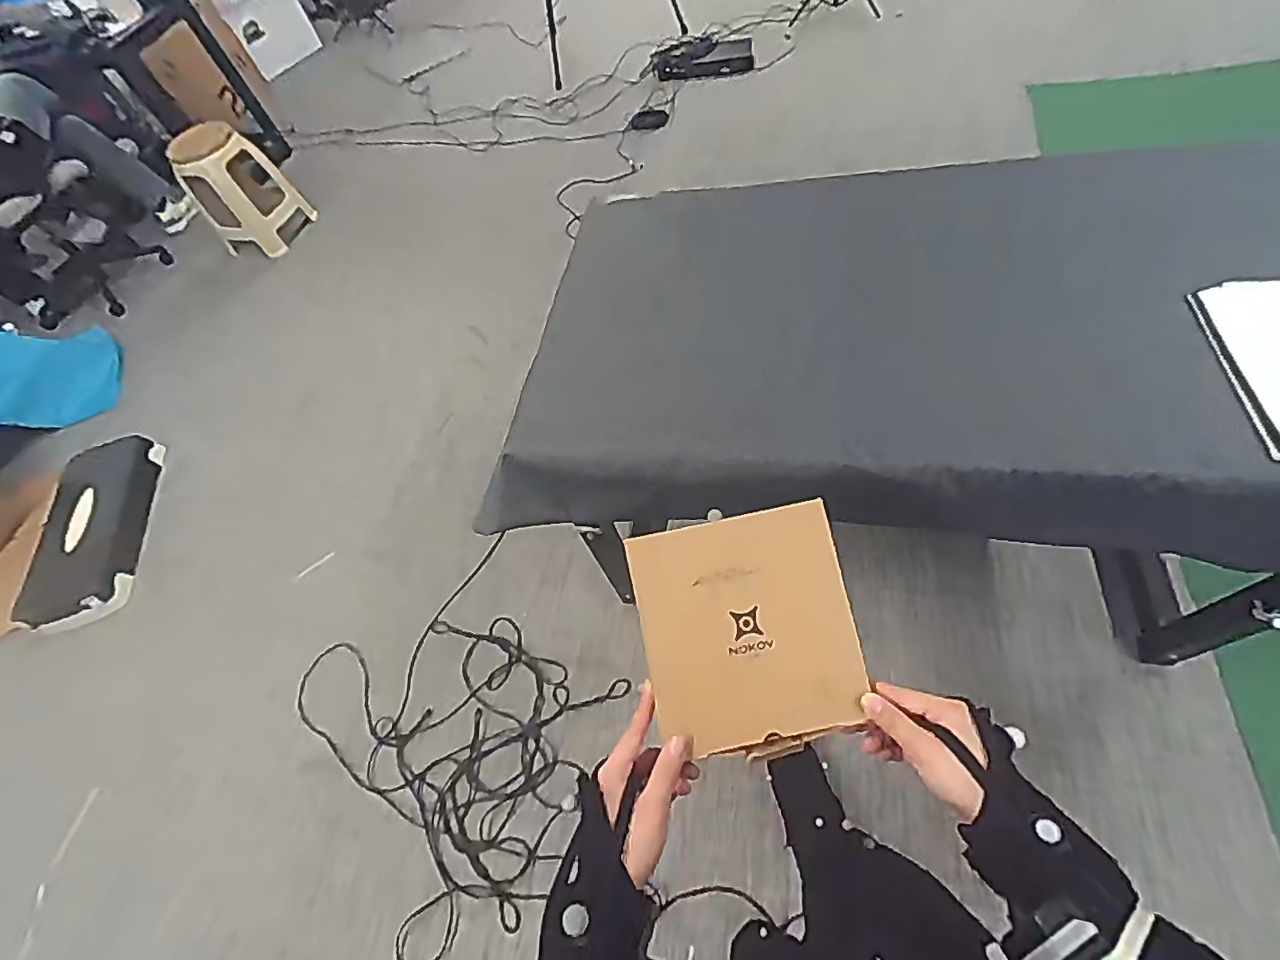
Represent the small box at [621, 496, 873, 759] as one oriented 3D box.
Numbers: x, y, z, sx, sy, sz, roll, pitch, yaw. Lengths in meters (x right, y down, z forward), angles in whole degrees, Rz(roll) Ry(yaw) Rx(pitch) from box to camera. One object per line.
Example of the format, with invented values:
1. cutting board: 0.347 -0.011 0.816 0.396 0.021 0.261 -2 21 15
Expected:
1. small box: 0.082 0.123 0.498 0.168 0.176 0.179 -12 80 -2
